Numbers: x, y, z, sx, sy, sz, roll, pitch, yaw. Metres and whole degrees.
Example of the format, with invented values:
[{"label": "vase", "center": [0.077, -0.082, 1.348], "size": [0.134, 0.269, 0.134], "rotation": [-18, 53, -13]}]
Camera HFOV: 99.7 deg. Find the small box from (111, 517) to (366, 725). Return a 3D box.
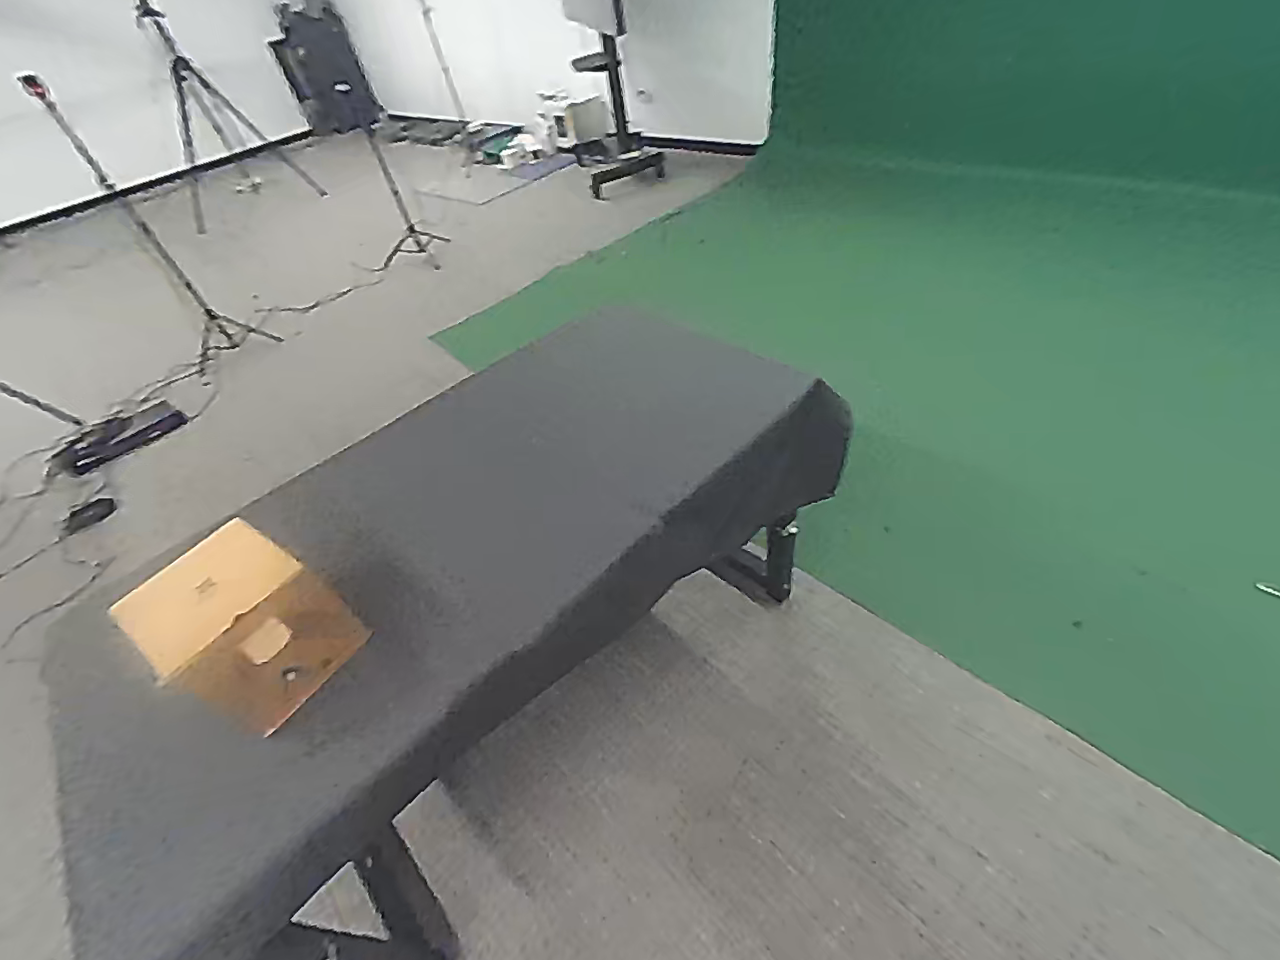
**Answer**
[{"label": "small box", "center": [-0.502, 0.182, 0.698], "size": [0.179, 0.176, 0.168], "rotation": [21, 52, 28]}]
